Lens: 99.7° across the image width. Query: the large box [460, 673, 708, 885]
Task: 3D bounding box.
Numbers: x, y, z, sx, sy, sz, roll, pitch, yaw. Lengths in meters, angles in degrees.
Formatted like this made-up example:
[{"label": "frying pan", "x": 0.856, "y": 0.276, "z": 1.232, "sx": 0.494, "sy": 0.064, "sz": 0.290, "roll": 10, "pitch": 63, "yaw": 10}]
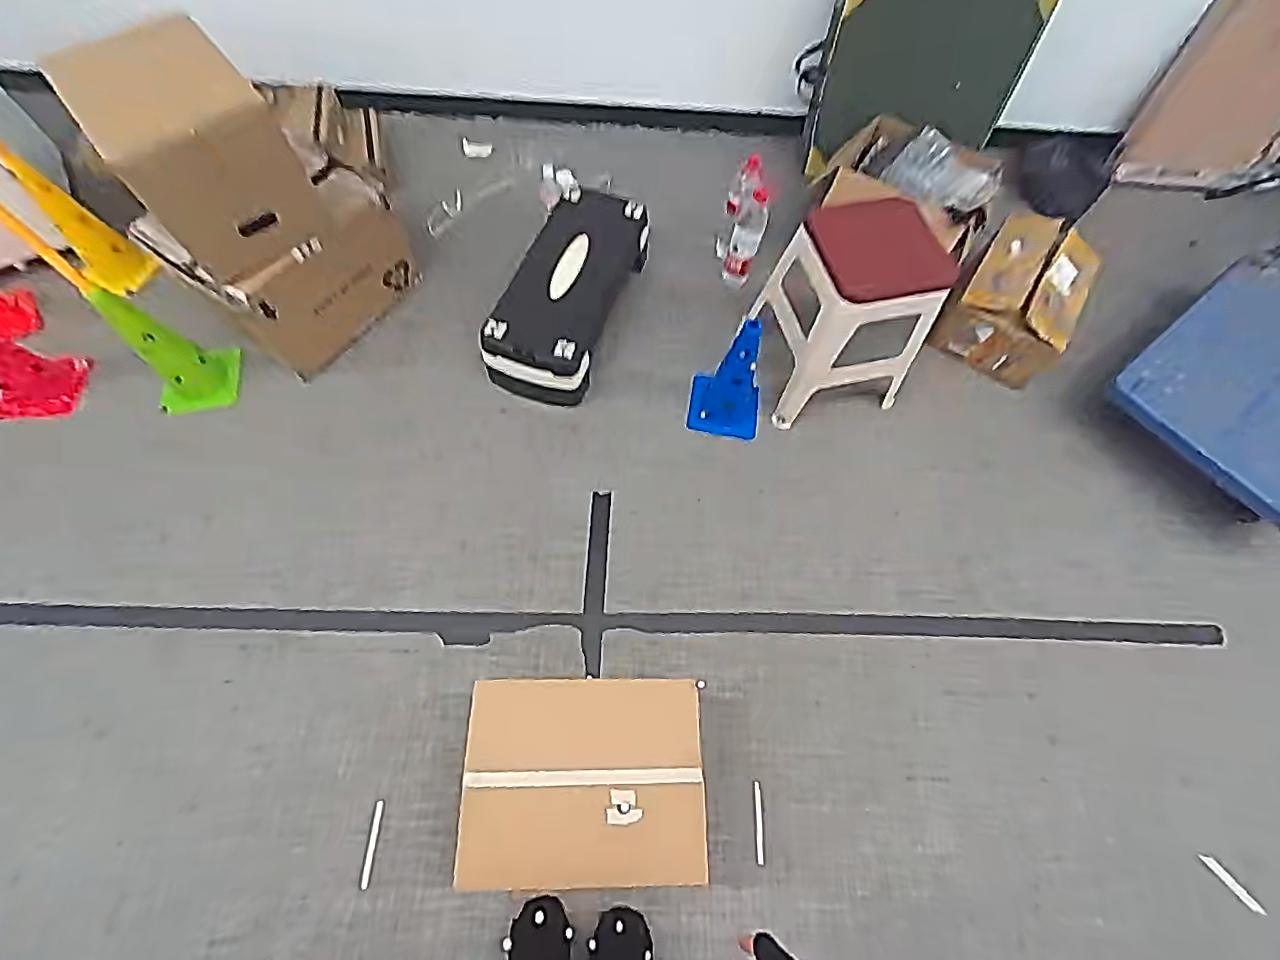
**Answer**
[{"label": "large box", "x": -0.101, "y": 0.560, "z": 1.057, "sx": 0.408, "sy": 0.320, "sz": 0.320, "roll": 1, "pitch": 65, "yaw": -4}]
